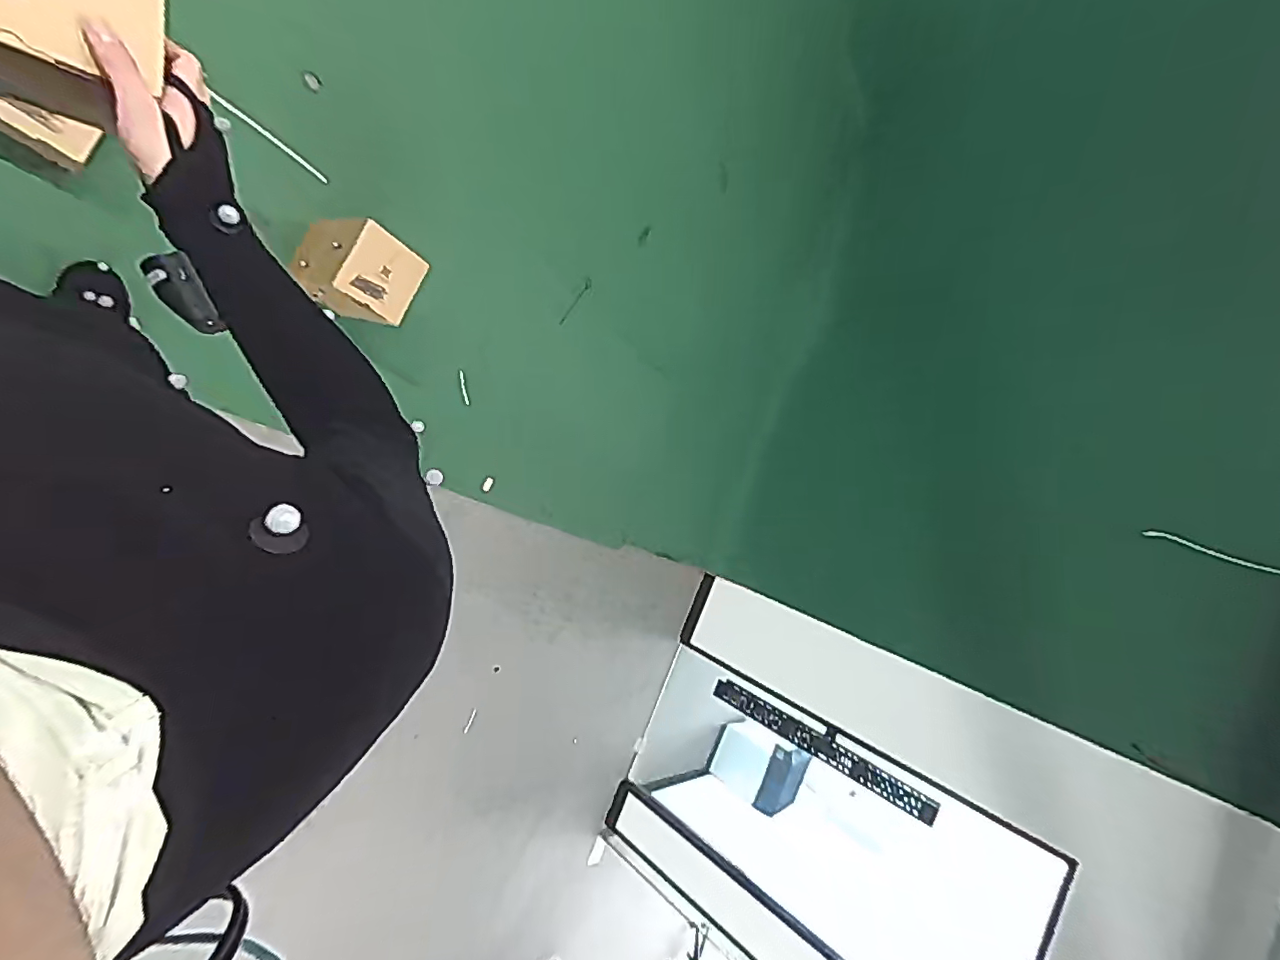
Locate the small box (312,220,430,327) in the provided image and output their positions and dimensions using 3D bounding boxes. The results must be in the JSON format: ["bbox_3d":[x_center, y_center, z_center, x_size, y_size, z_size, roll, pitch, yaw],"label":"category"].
[{"bbox_3d":[-0.648,-0.492,1.292,0.168,0.176,0.179,34,79,-52],"label":"small box"}]

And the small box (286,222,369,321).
[{"bbox_3d":[-0.771,-0.537,1.392,0.168,0.176,0.179,31,82,-52],"label":"small box"}]

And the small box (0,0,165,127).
[{"bbox_3d":[-0.483,-0.400,0.401,0.168,0.176,0.179,-4,106,-54],"label":"small box"}]
